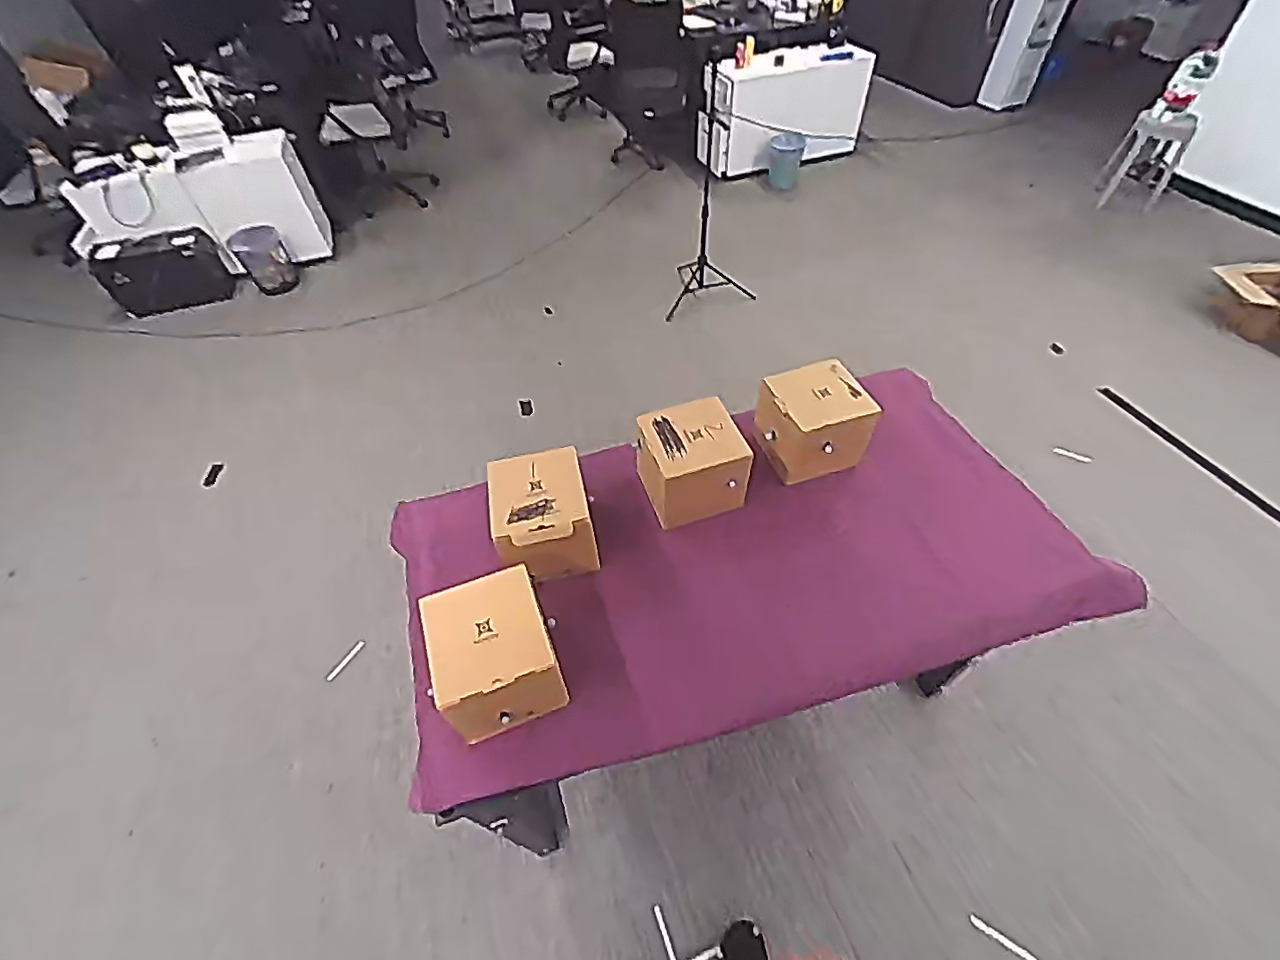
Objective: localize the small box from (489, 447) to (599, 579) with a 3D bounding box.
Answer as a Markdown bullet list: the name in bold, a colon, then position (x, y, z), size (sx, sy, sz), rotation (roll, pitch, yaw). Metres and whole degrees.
- **small box**: position (-0.175, 0.069, 1.000), size (0.168, 0.176, 0.179), rotation (-11, 51, -7)

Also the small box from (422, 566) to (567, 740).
- **small box**: position (-0.220, 0.268, 0.836), size (0.168, 0.176, 0.179), rotation (-18, 53, -14)
